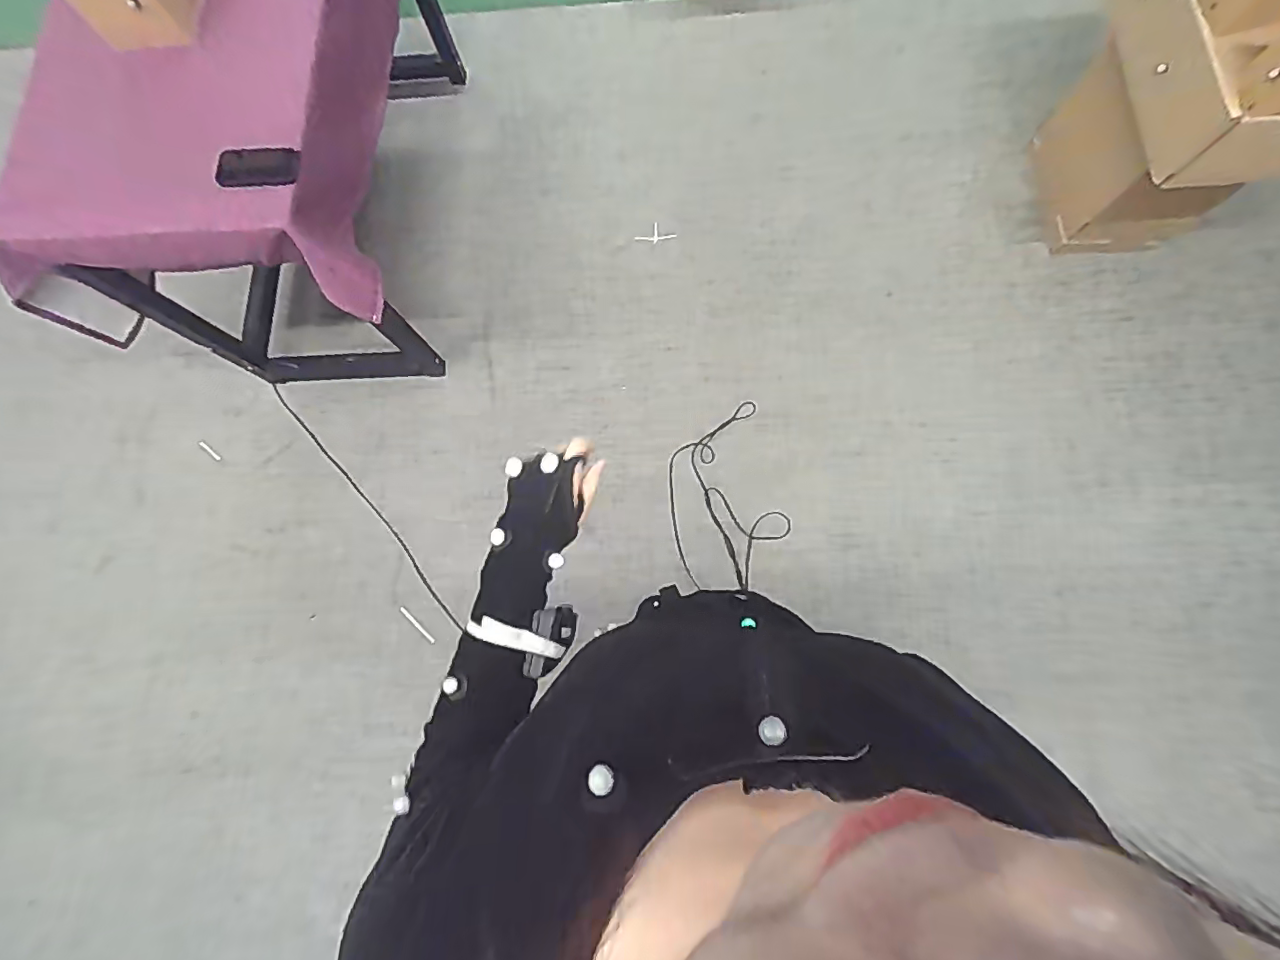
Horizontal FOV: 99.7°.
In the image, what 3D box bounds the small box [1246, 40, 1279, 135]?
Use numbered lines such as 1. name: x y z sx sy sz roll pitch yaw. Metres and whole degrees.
1. small box: 1.422 -0.845 1.115 0.179 0.176 0.168 4 78 6
